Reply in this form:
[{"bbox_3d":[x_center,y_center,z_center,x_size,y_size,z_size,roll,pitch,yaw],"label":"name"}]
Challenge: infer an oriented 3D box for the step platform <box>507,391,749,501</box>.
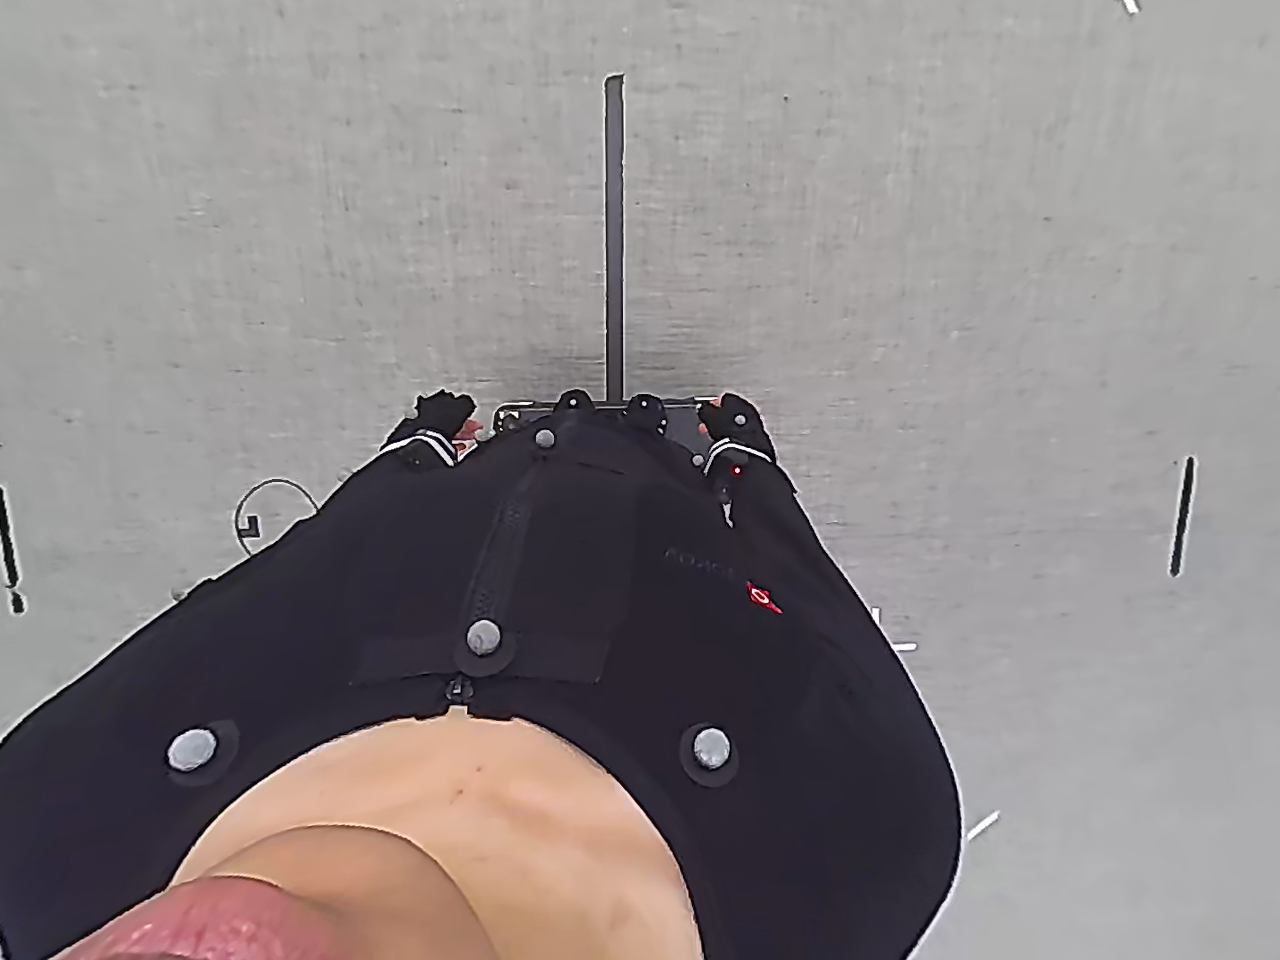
[{"bbox_3d":[-0.033,-0.102,1.561,0.684,0.204,0.286,-3,100,-2],"label":"step platform"}]
